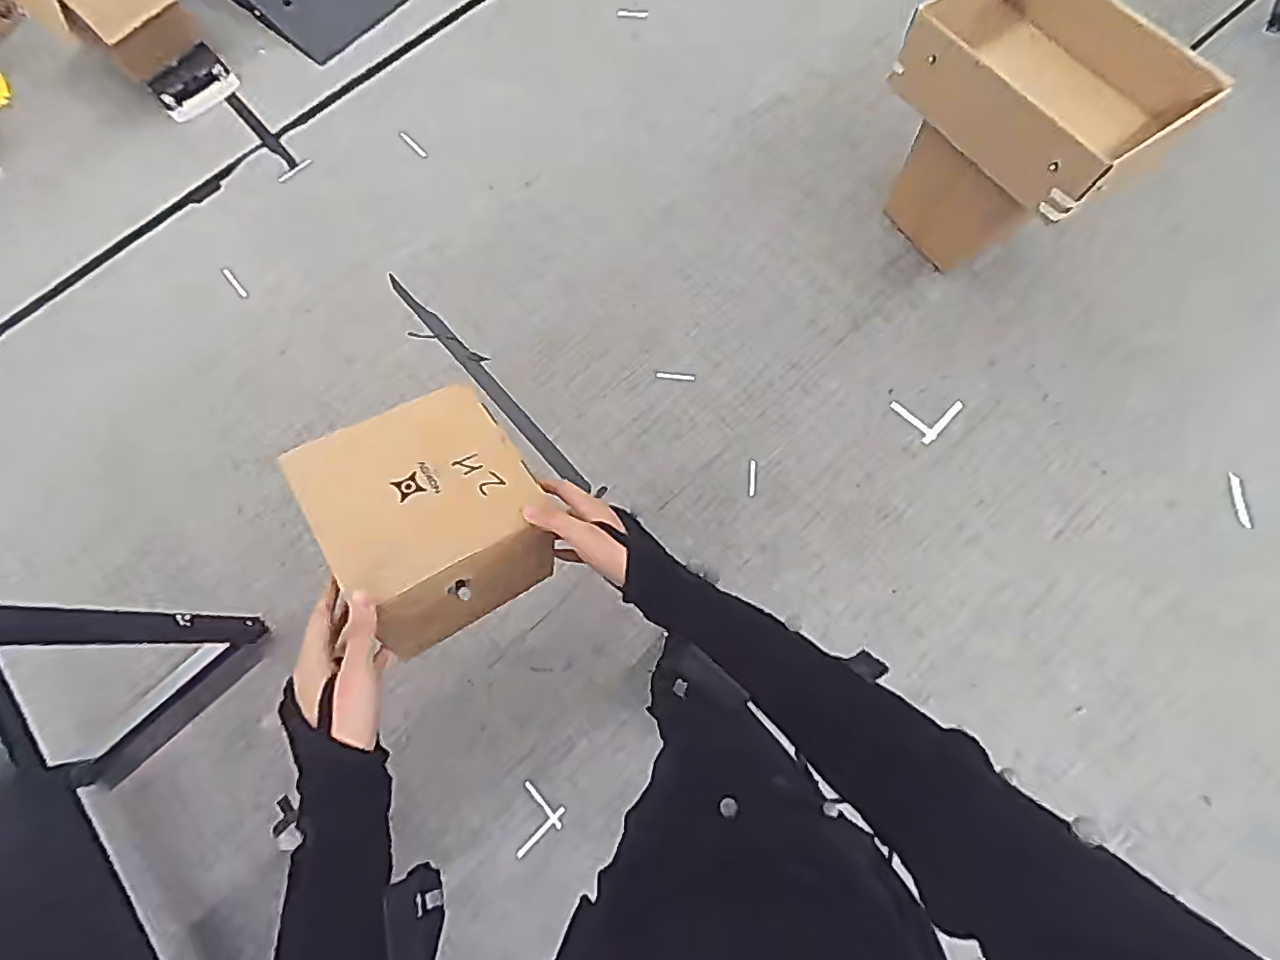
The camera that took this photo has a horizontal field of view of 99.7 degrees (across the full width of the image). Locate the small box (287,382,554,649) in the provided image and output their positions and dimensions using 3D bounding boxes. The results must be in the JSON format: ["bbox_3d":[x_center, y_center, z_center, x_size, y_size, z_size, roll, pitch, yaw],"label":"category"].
[{"bbox_3d":[-0.197,0.041,0.532,0.179,0.176,0.168,-28,70,-23],"label":"small box"}]
